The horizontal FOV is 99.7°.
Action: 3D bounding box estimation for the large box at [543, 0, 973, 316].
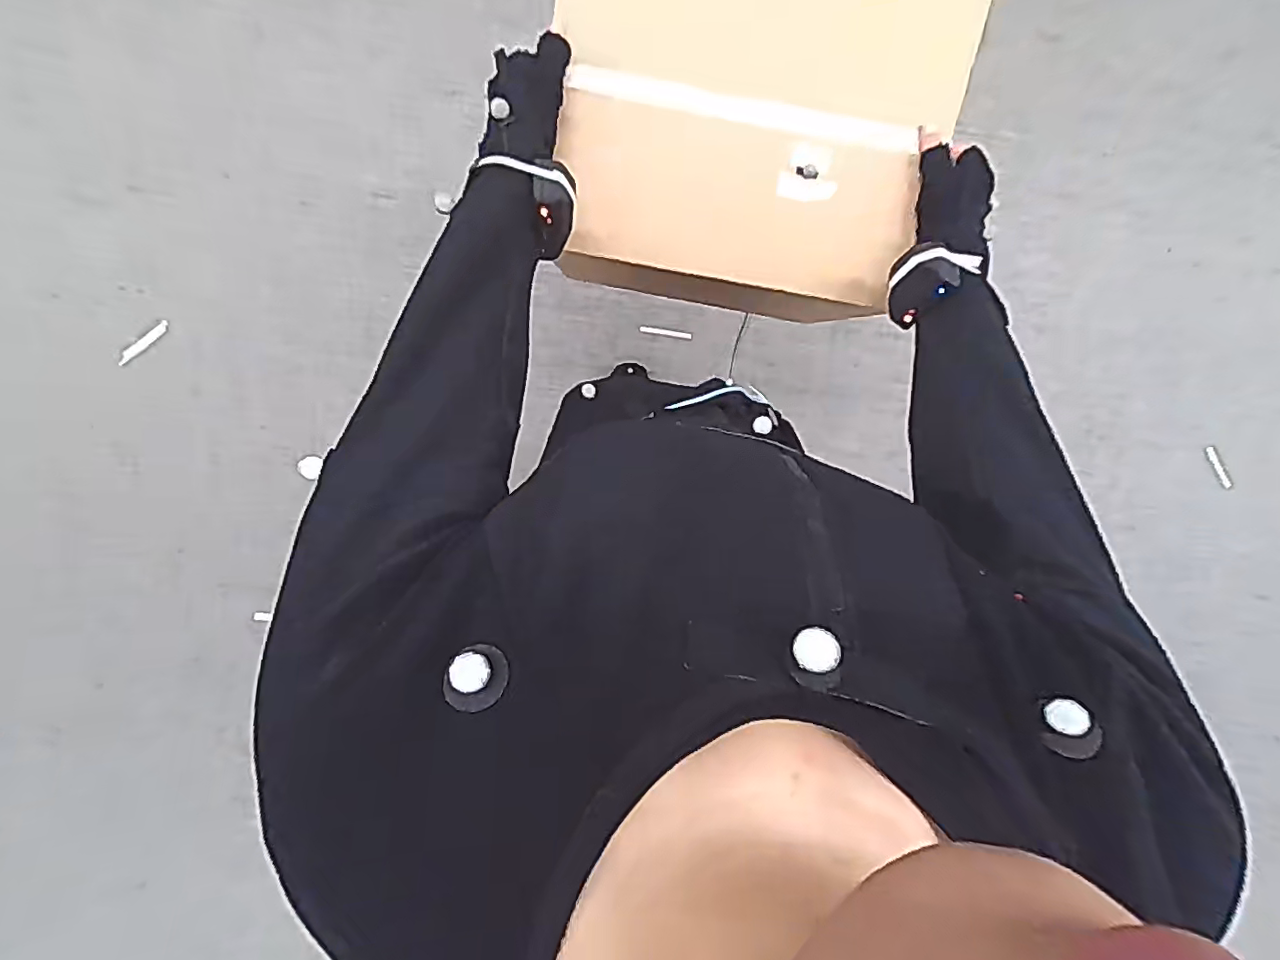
[{"bbox_3d":[0.107,-0.406,0.698,0.408,0.320,0.320,9,105,-4],"label":"large box"}]
